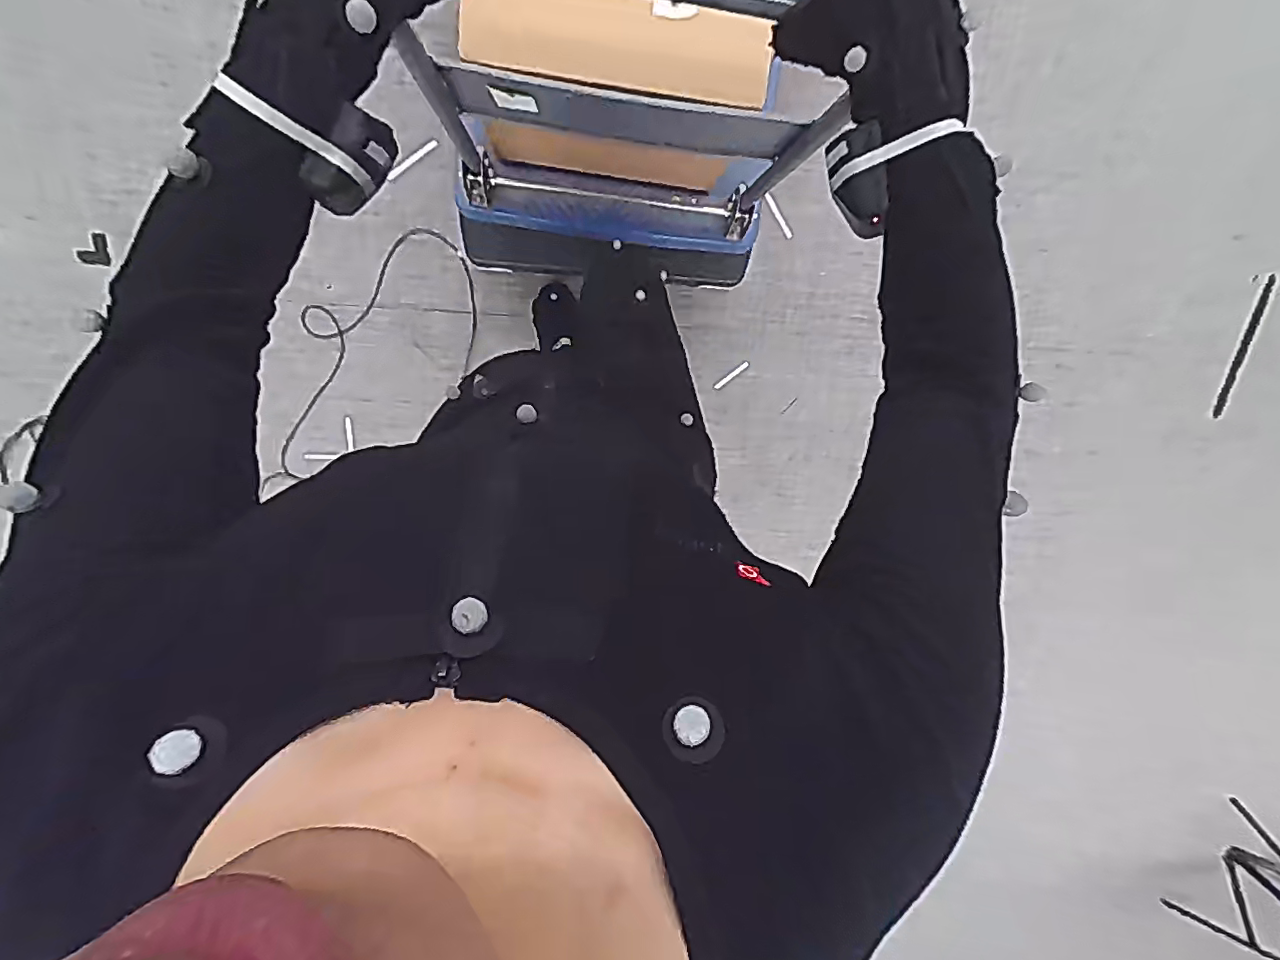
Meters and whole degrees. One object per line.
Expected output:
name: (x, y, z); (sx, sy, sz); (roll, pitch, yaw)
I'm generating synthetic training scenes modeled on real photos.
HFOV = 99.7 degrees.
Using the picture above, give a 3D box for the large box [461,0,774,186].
large box: (-0.037, -0.688, 0.826); (0.408, 0.320, 0.320); (4, 100, -8)
